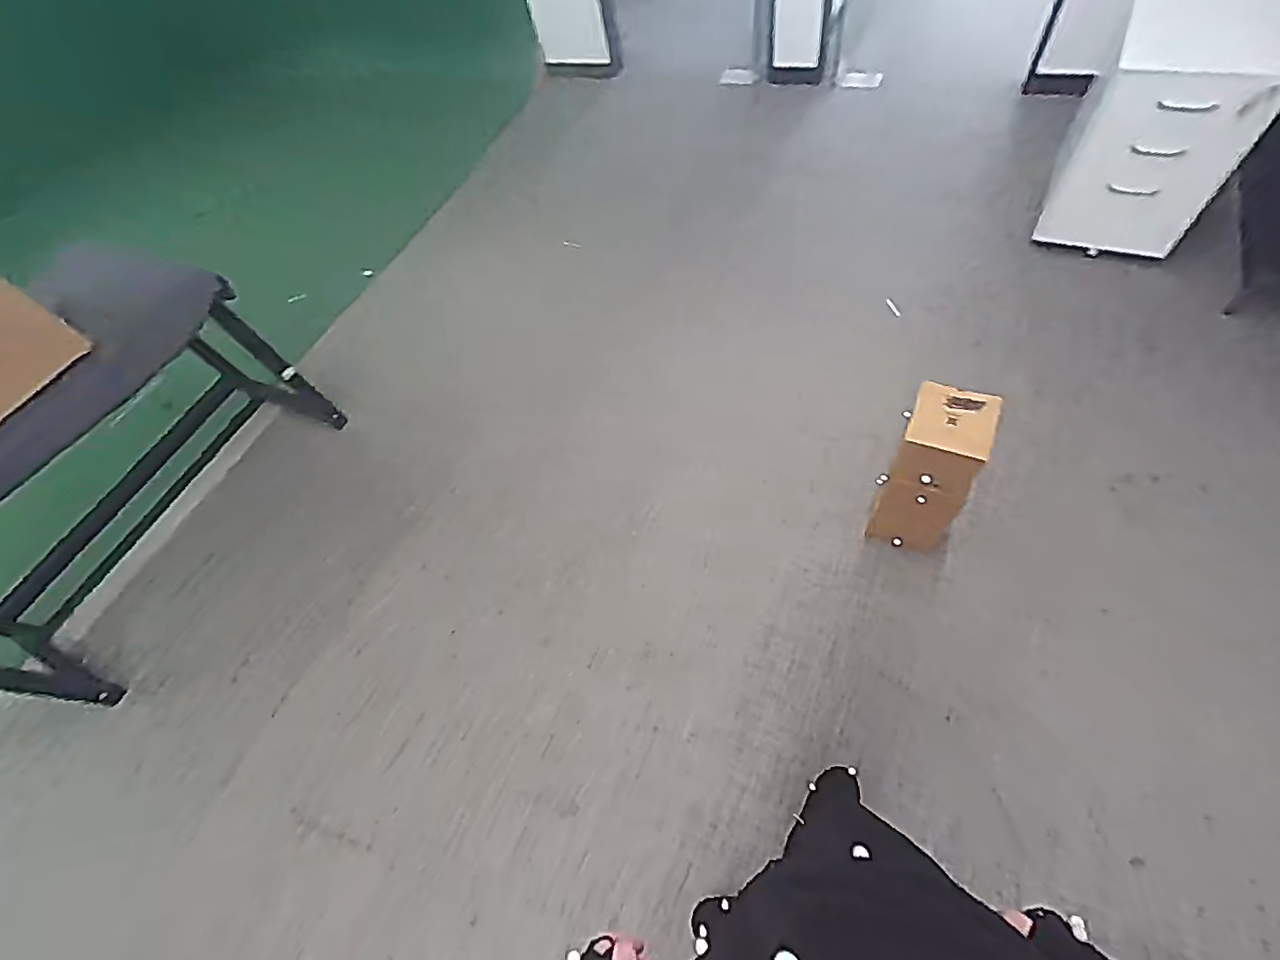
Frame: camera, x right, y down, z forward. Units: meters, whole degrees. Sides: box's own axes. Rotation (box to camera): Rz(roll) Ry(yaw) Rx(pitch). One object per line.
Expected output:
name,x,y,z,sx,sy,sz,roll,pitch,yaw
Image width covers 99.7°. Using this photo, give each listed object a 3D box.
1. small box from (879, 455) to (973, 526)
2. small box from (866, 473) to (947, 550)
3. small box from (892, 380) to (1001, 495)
small box,0.732,-0.003,1.383,0.179,0.176,0.168,19,65,20
small box,0.760,0.077,1.522,0.179,0.176,0.168,19,65,20
small box,0.700,-0.096,1.250,0.168,0.176,0.179,19,66,22
